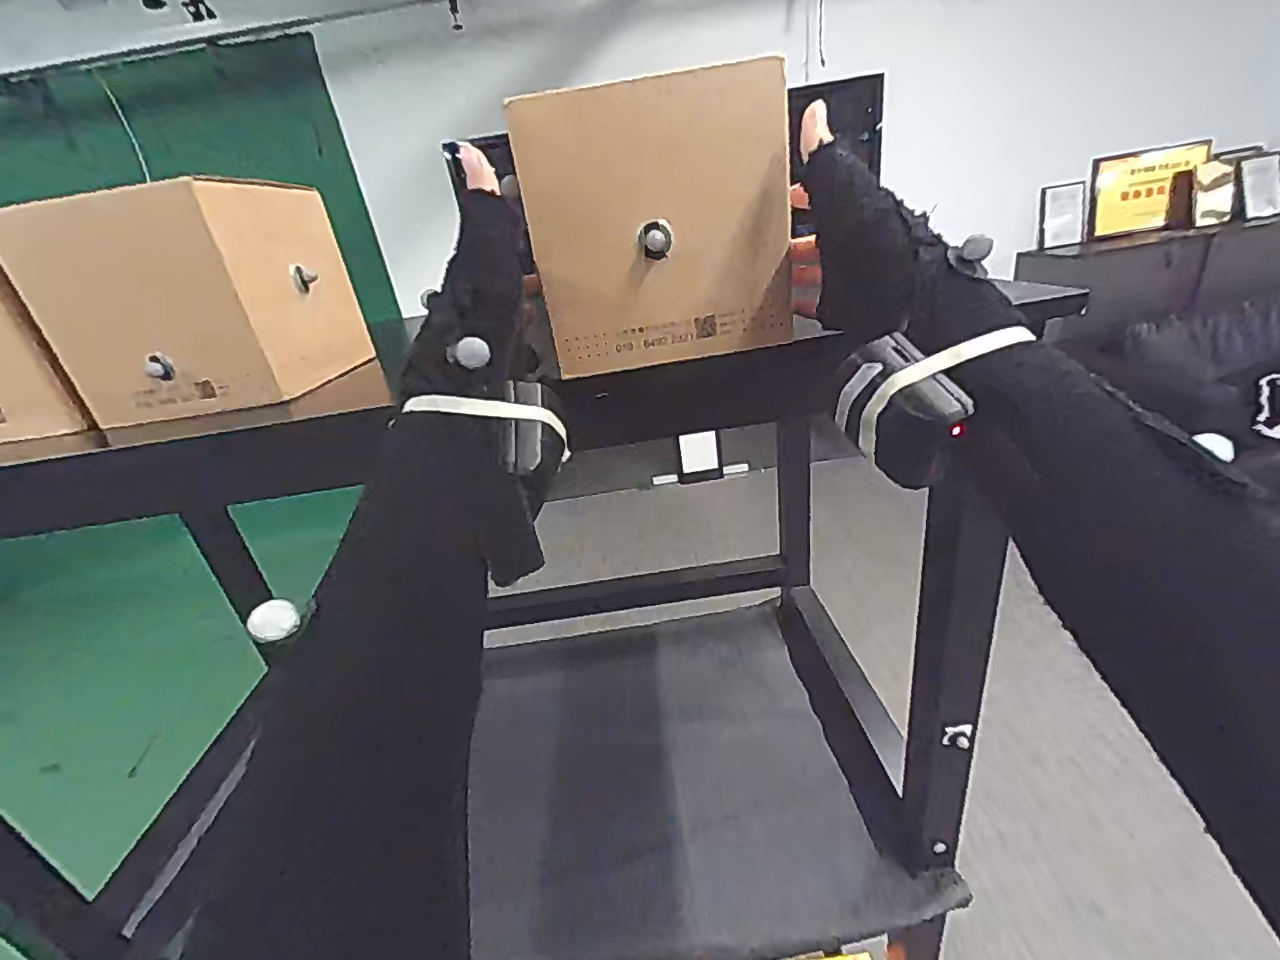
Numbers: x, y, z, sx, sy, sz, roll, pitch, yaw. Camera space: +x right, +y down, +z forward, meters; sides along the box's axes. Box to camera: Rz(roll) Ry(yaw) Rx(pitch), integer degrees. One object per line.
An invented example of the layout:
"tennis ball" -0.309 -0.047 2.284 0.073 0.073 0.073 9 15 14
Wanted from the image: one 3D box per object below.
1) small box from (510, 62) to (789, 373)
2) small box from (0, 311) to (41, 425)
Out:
"small box" 0.012 -0.186 0.418 0.168 0.176 0.179 -9 25 0
"small box" -0.747 -0.110 0.509 0.168 0.176 0.179 -9 26 0
